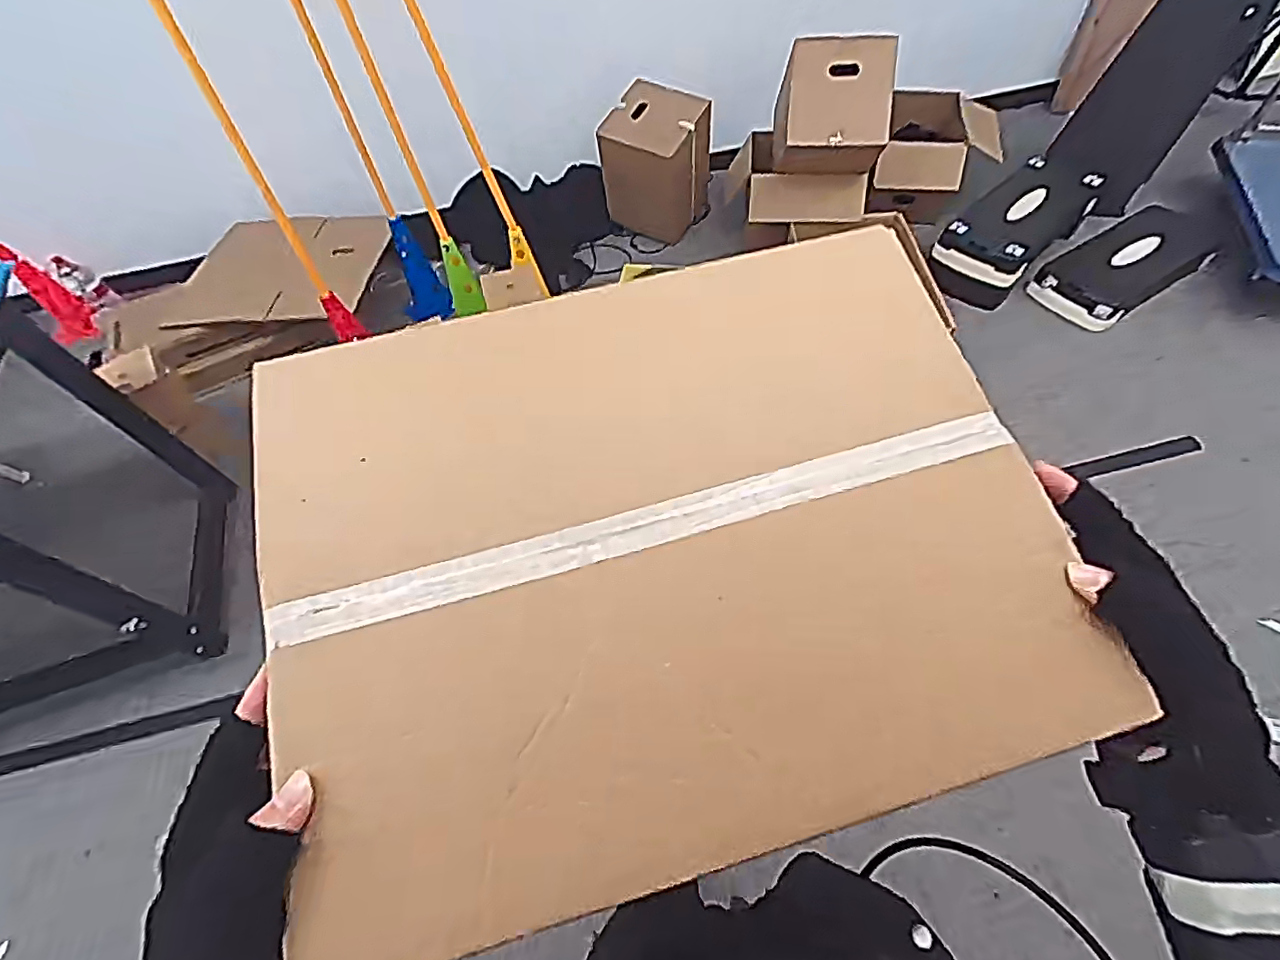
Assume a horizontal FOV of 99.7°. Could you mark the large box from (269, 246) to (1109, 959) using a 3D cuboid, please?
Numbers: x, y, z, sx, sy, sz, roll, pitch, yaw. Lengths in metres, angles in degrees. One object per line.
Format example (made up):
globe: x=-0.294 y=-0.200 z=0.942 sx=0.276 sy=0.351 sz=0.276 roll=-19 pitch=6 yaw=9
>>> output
large box: x=0.008 y=0.079 z=0.438 sx=0.408 sy=0.320 sz=0.320 roll=-15 pitch=71 yaw=-5
